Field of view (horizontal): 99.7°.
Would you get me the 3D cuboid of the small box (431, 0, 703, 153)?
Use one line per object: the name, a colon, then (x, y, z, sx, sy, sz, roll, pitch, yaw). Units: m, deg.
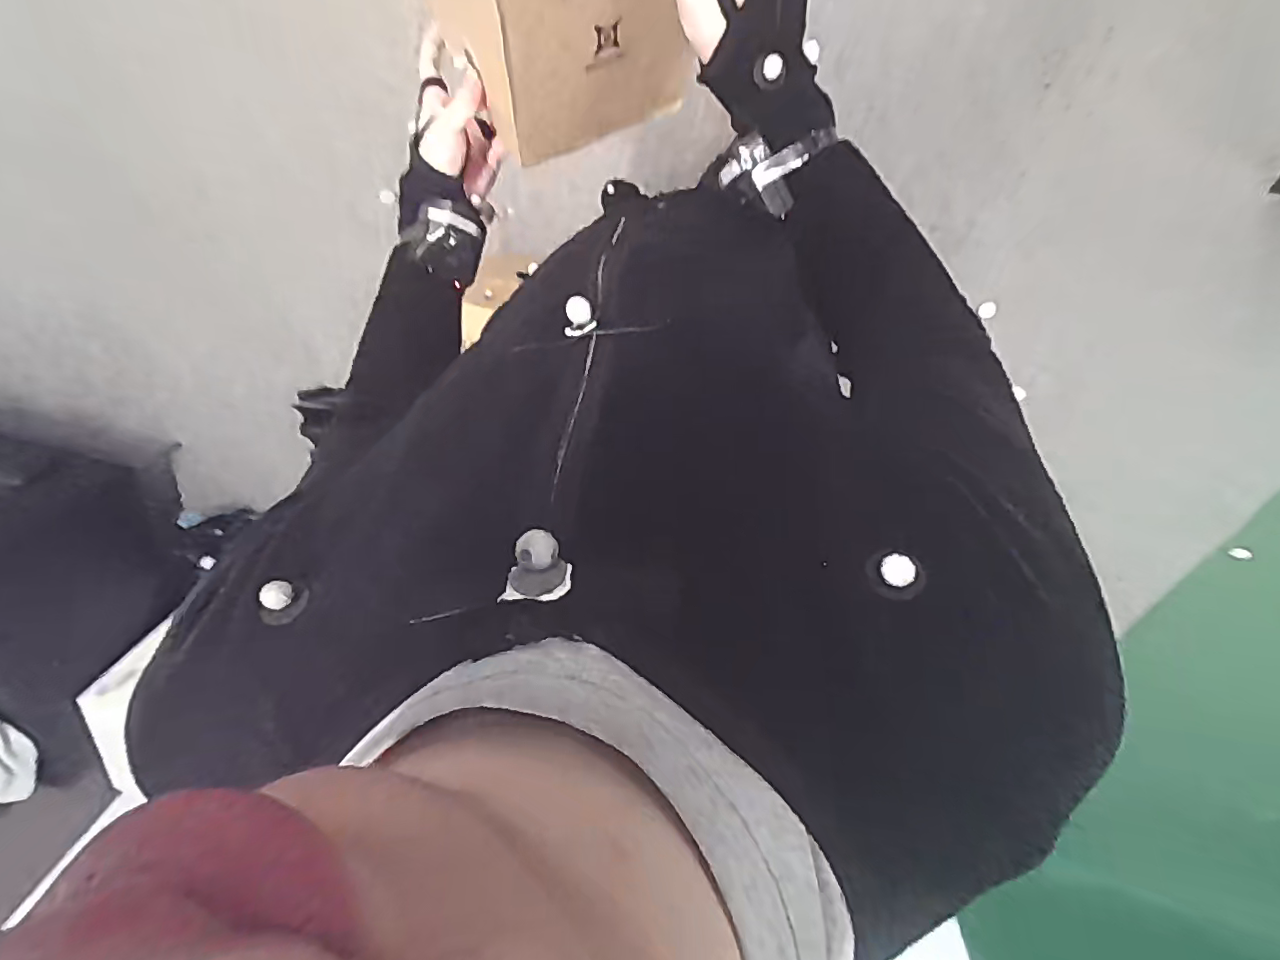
small box: (-0.063, -0.393, 0.391, 0.168, 0.179, 0.176, -29, 80, -12)
